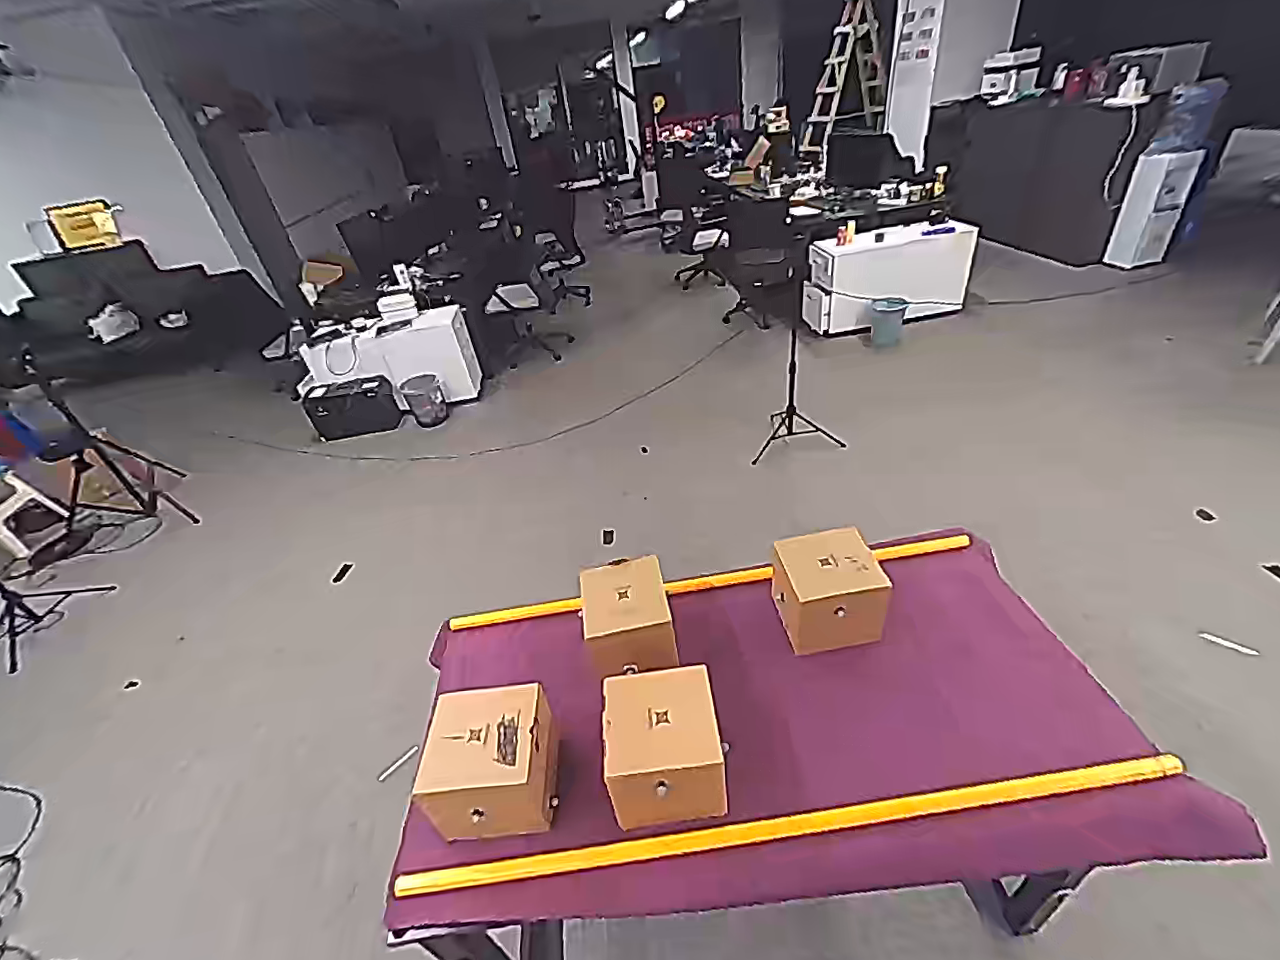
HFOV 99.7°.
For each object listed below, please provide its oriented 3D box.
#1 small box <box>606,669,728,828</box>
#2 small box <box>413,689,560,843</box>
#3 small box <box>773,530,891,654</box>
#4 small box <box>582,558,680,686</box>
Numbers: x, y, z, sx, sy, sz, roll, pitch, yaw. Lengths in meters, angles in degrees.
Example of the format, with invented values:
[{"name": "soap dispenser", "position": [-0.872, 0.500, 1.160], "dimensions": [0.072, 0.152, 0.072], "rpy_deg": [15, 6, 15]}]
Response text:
[{"name": "small box", "position": [0.044, 0.437, 0.880], "dimensions": [0.179, 0.176, 0.168], "rpy_deg": [-9, 35, 2]}, {"name": "small box", "position": [-0.237, 0.471, 0.892], "dimensions": [0.179, 0.176, 0.168], "rpy_deg": [-7, 35, 3]}, {"name": "small box", "position": [0.376, 0.228, 1.090], "dimensions": [0.179, 0.176, 0.168], "rpy_deg": [-10, 37, 0]}, {"name": "small box", "position": [-0.020, 0.290, 1.098], "dimensions": [0.168, 0.176, 0.179], "rpy_deg": [-12, 36, -2]}]
